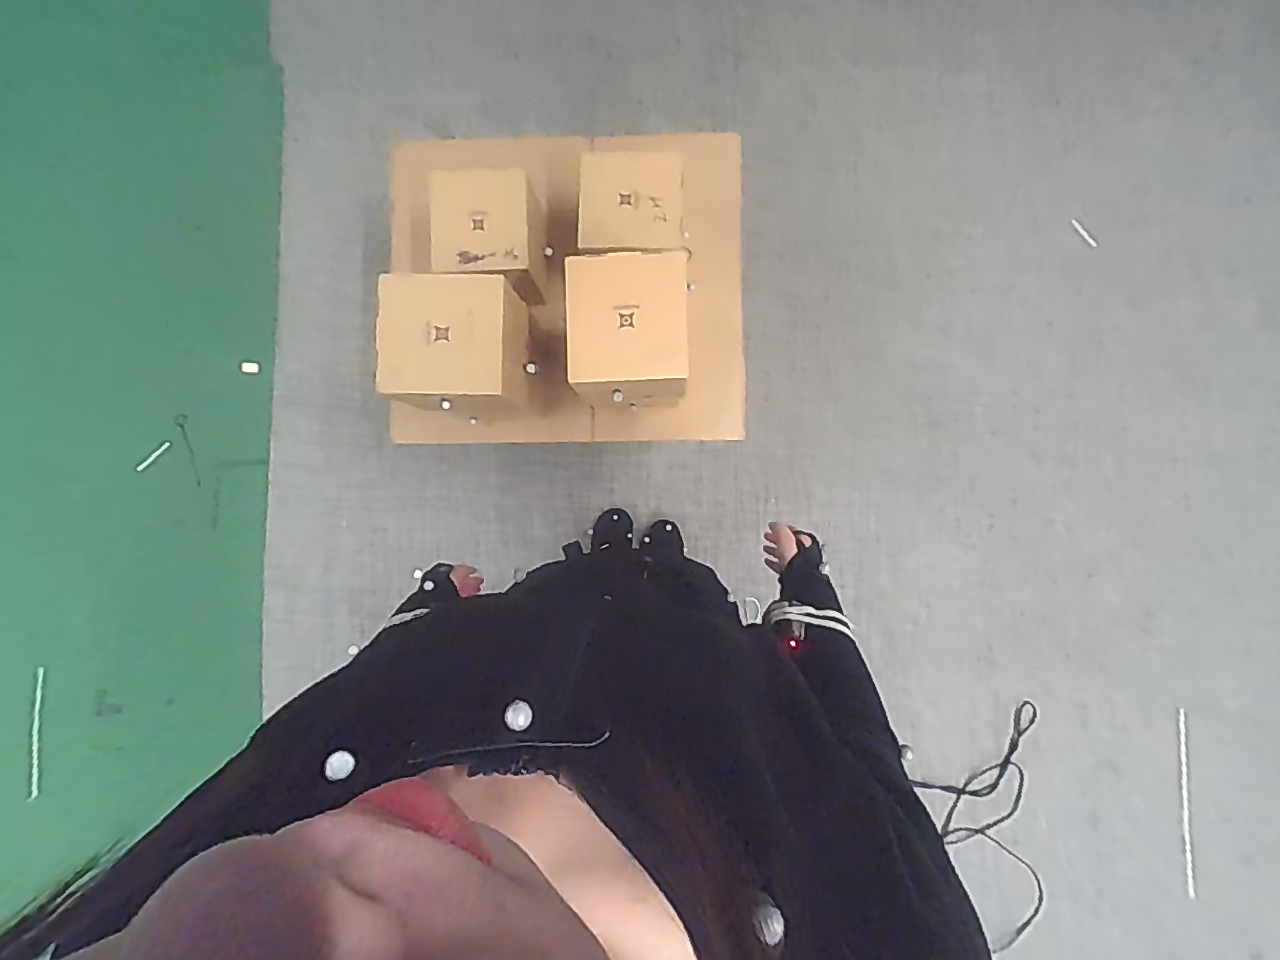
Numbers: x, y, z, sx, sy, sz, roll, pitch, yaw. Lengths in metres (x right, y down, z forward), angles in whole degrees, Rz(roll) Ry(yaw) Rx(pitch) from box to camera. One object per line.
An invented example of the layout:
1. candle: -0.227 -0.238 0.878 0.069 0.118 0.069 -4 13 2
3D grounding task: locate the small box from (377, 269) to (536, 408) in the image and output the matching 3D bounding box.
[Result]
1. small box: -0.266 -0.202 0.813 0.179 0.176 0.168 2 90 2

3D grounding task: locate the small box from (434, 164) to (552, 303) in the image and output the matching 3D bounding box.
1. small box: -0.258 -0.437 0.982 0.168 0.176 0.179 -1 87 4

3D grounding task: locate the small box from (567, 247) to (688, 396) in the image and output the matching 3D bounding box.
1. small box: -0.012 -0.221 0.802 0.168 0.176 0.179 -1 88 3
